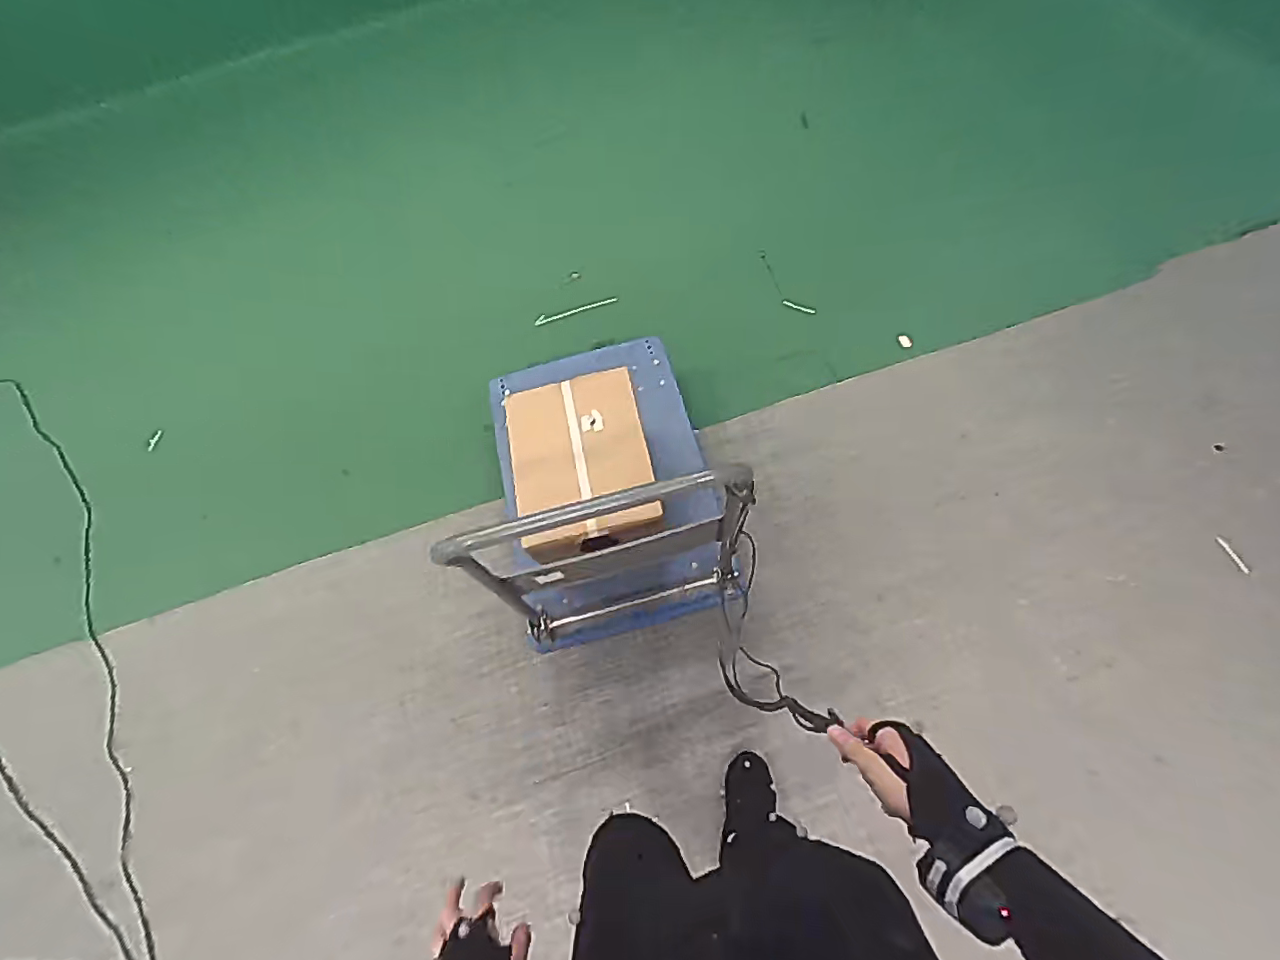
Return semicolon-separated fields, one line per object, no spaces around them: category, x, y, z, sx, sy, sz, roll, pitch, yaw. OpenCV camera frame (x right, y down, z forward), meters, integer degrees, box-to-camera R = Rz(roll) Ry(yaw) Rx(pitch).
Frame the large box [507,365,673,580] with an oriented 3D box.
large box;-0.118;-0.008;1.361;0.320;0.320;0.408;-13;64;0
